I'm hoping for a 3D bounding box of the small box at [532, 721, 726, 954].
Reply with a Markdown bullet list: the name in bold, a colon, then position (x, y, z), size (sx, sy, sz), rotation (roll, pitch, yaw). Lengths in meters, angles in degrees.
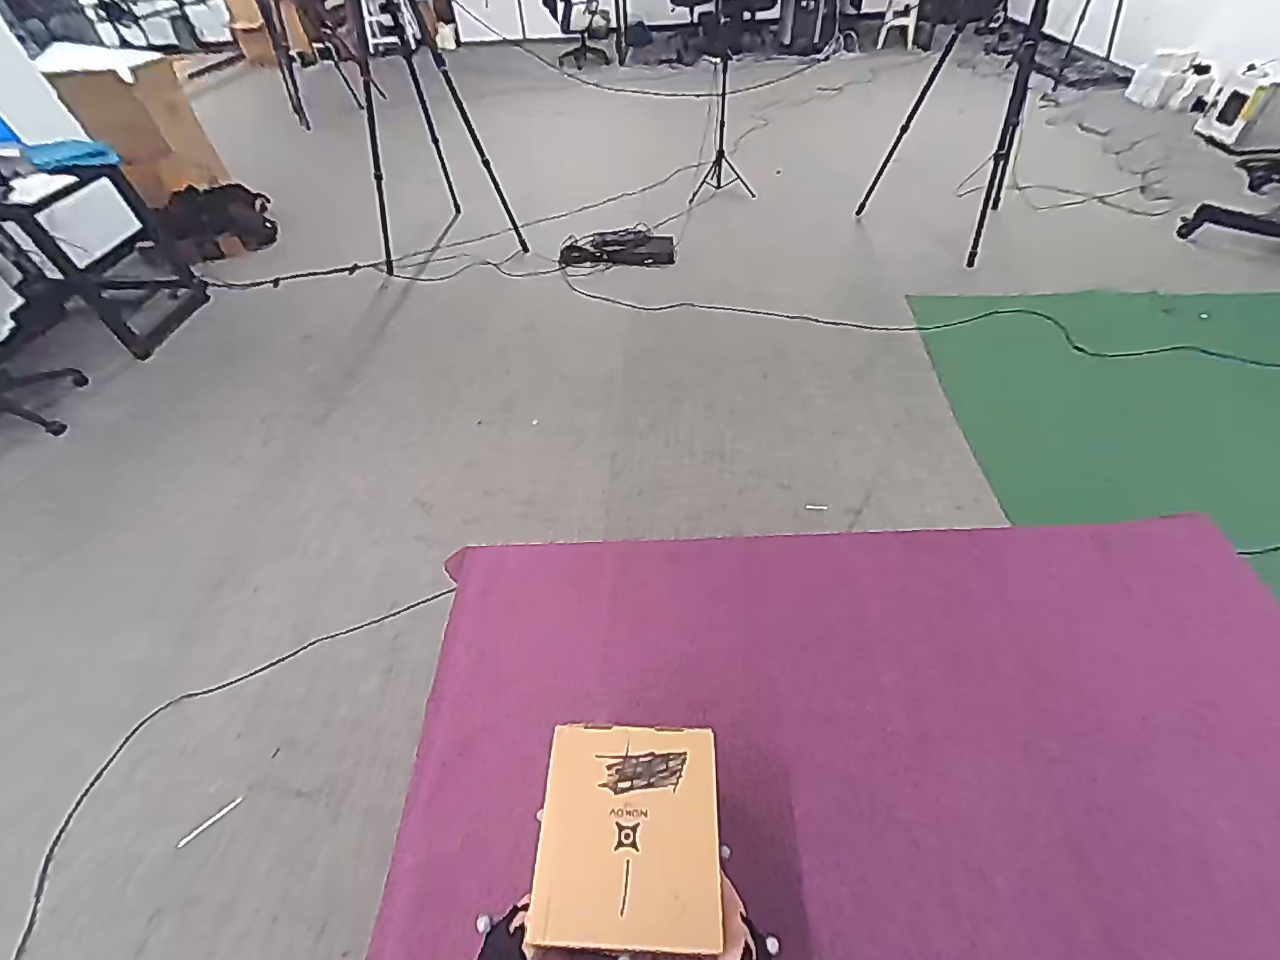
- **small box**: position (-0.003, 0.370, 0.561), size (0.168, 0.176, 0.179), rotation (0, 49, 4)
